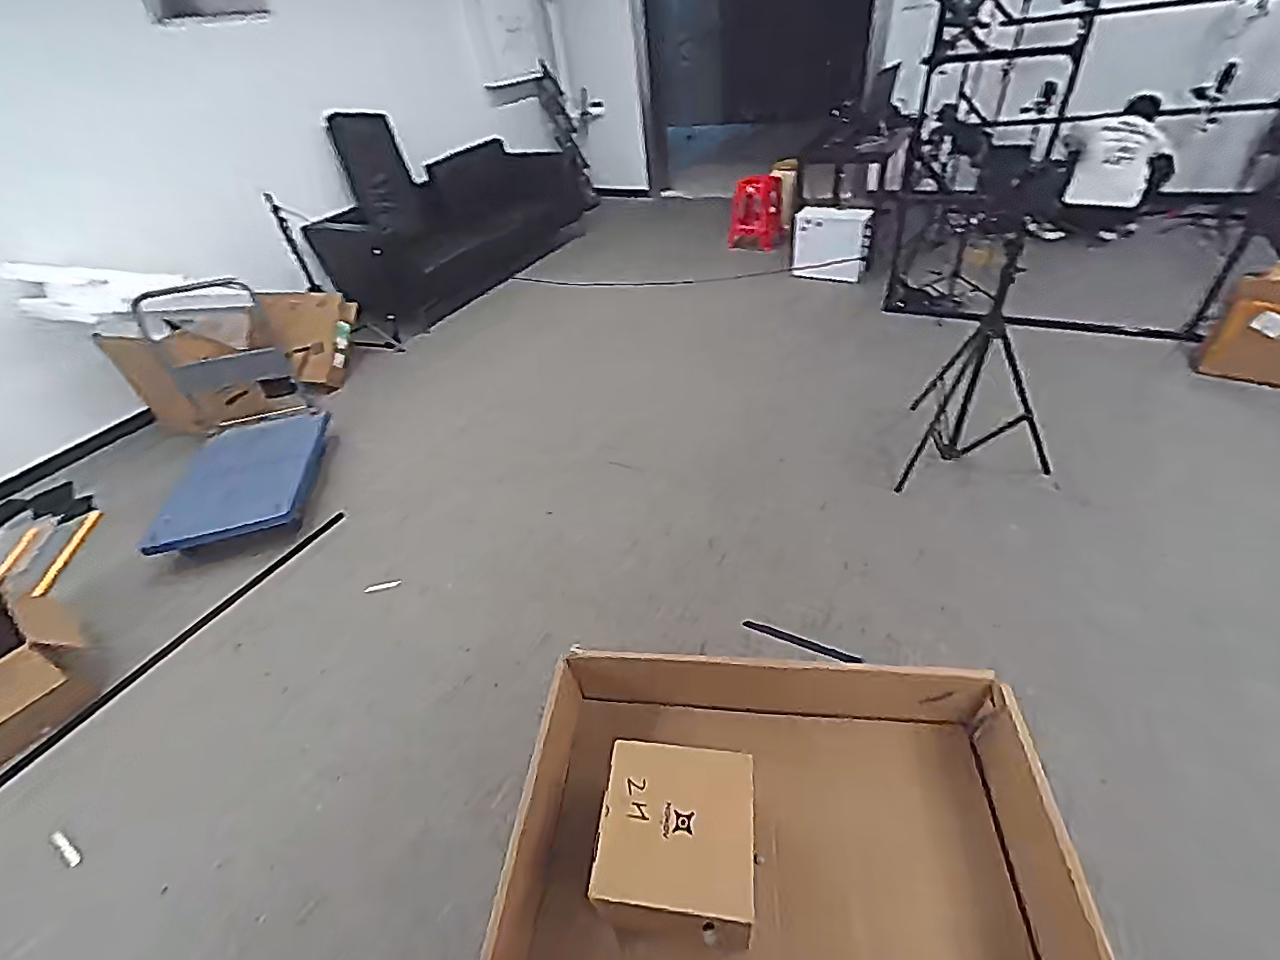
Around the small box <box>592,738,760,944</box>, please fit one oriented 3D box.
[{"bbox_3d":[0.053,0.445,0.668,0.179,0.176,0.168,1,42,10],"label":"small box"}]
